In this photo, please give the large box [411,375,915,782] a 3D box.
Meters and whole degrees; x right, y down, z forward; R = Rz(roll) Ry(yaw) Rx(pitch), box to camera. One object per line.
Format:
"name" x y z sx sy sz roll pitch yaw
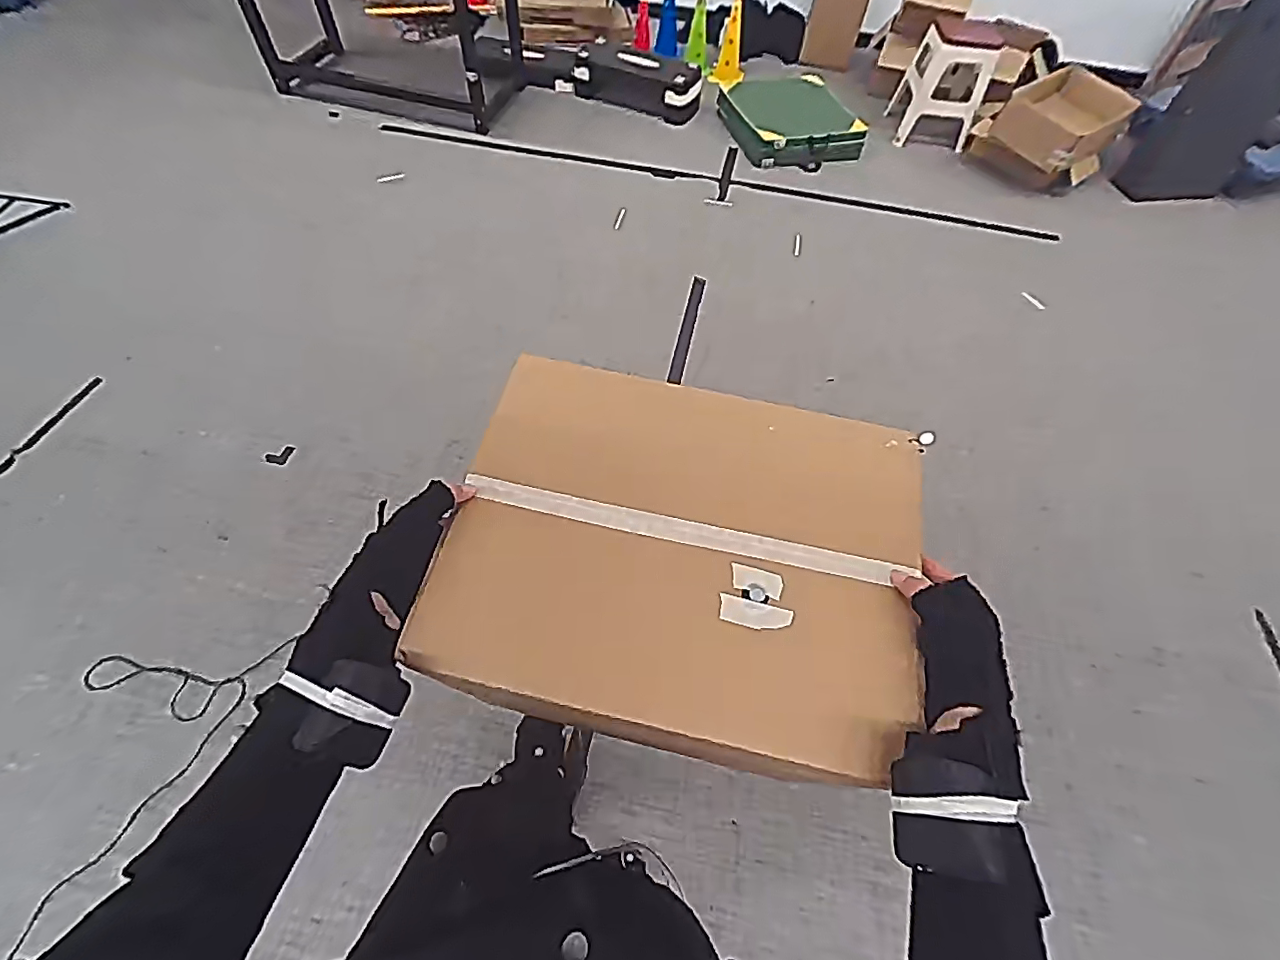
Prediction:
"large box" 0.033 0.127 0.613 0.408 0.320 0.320 12 63 3
